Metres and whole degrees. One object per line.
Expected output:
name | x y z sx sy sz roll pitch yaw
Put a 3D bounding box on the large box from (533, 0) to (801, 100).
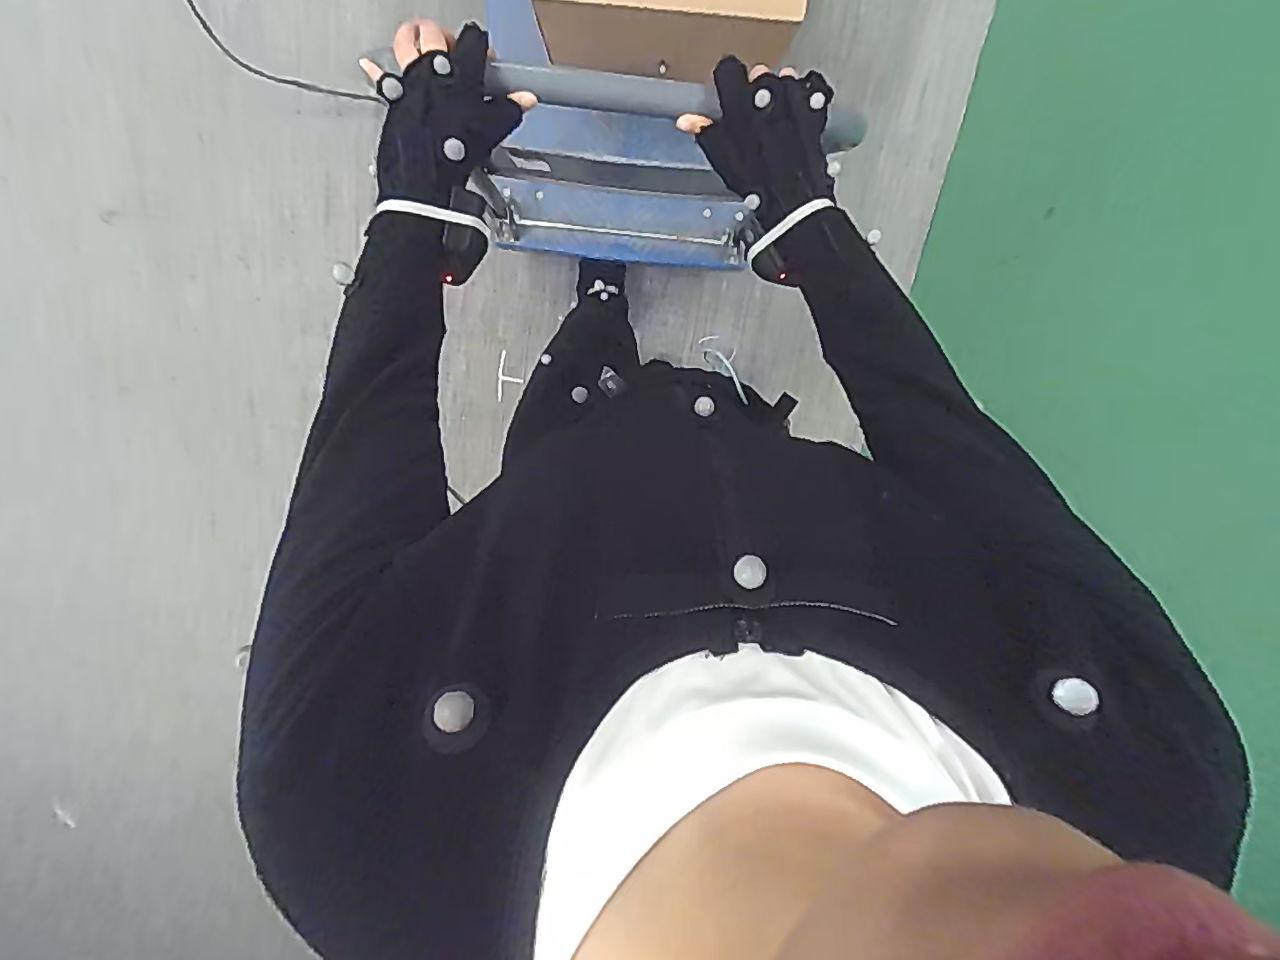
large box | 0.052 -0.879 0.907 0.408 0.320 0.320 5 106 0
